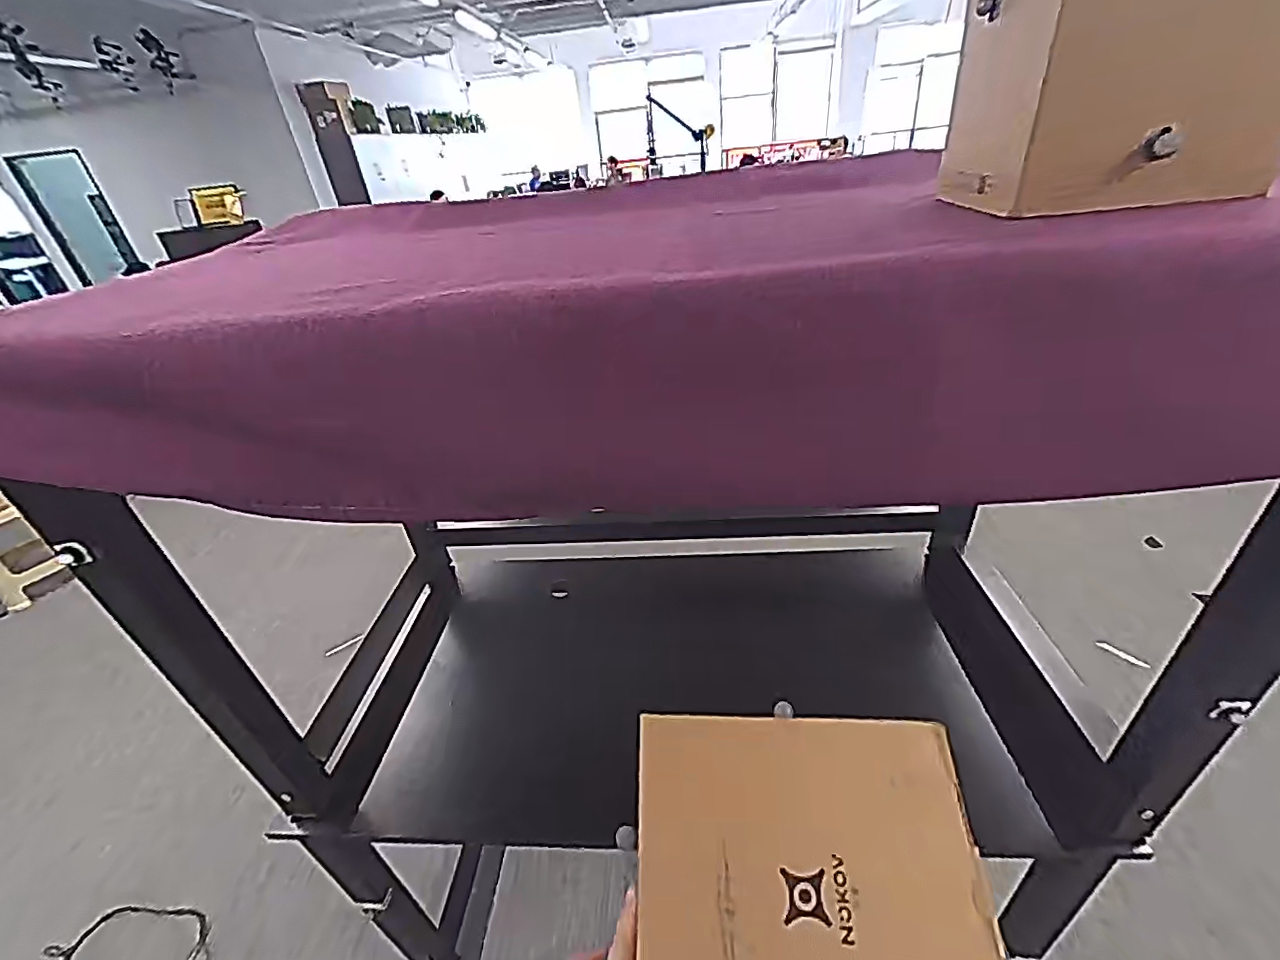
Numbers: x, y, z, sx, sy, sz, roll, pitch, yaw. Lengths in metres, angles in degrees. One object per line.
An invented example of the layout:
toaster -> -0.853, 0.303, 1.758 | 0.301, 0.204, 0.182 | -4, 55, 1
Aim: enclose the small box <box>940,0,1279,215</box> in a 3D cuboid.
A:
small box -> 0.369, -0.317, 0.426 | 0.179, 0.176, 0.168 | -2, 31, 8
